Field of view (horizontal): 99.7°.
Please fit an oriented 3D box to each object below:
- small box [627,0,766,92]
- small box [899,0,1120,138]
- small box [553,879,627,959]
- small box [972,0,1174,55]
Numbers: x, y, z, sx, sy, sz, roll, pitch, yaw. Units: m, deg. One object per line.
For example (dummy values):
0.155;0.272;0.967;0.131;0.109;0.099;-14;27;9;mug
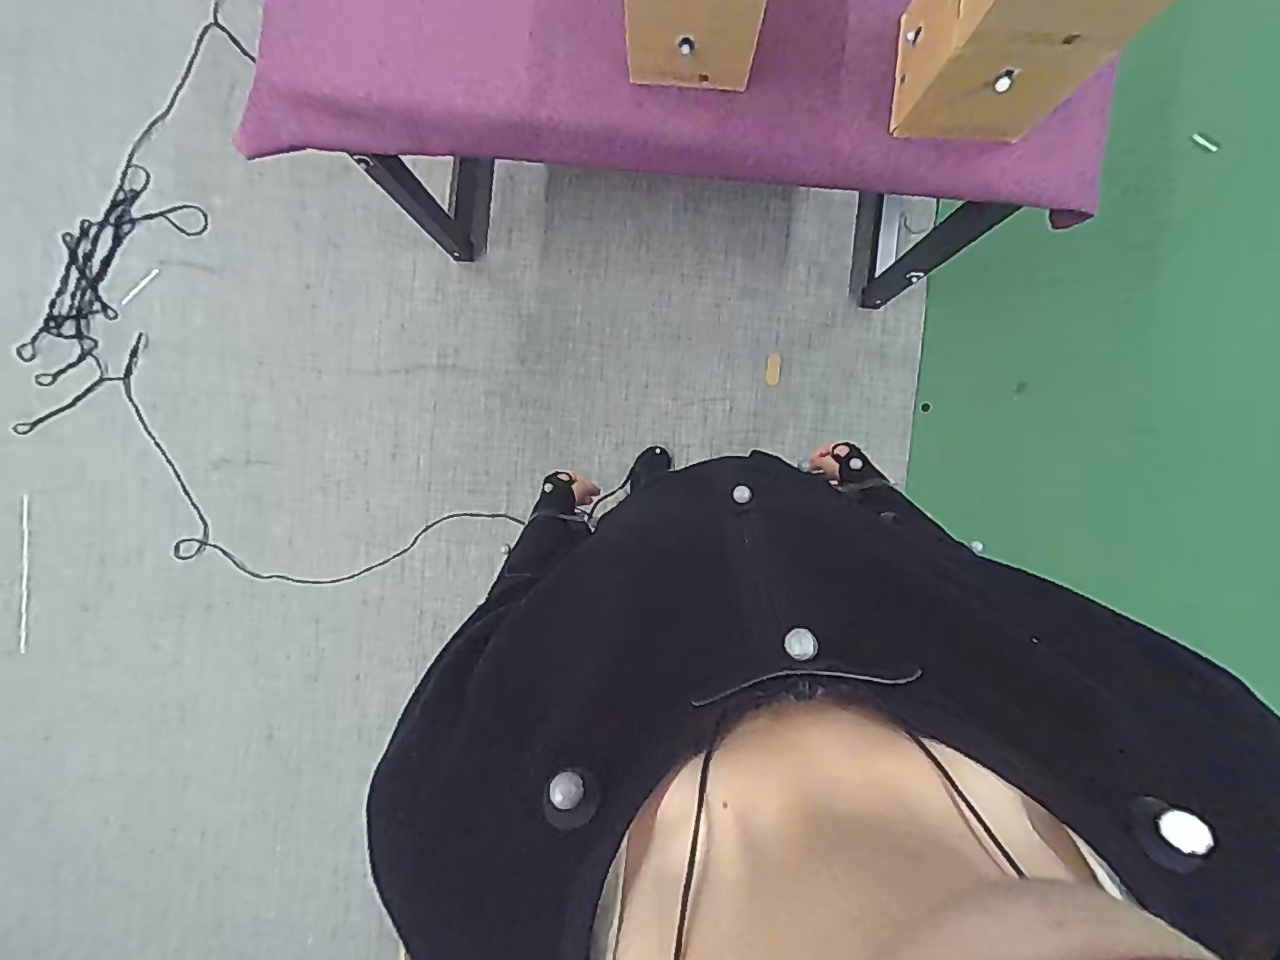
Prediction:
0.079;-0.638;0.690;0.168;0.176;0.179;6;91;3;small box
0.450;-0.555;0.671;0.179;0.176;0.168;4;93;5;small box
-0.128;1.202;1.433;0.179;0.176;0.168;0;90;5;small box
0.442;-0.552;0.507;0.168;0.176;0.179;5;92;5;small box
